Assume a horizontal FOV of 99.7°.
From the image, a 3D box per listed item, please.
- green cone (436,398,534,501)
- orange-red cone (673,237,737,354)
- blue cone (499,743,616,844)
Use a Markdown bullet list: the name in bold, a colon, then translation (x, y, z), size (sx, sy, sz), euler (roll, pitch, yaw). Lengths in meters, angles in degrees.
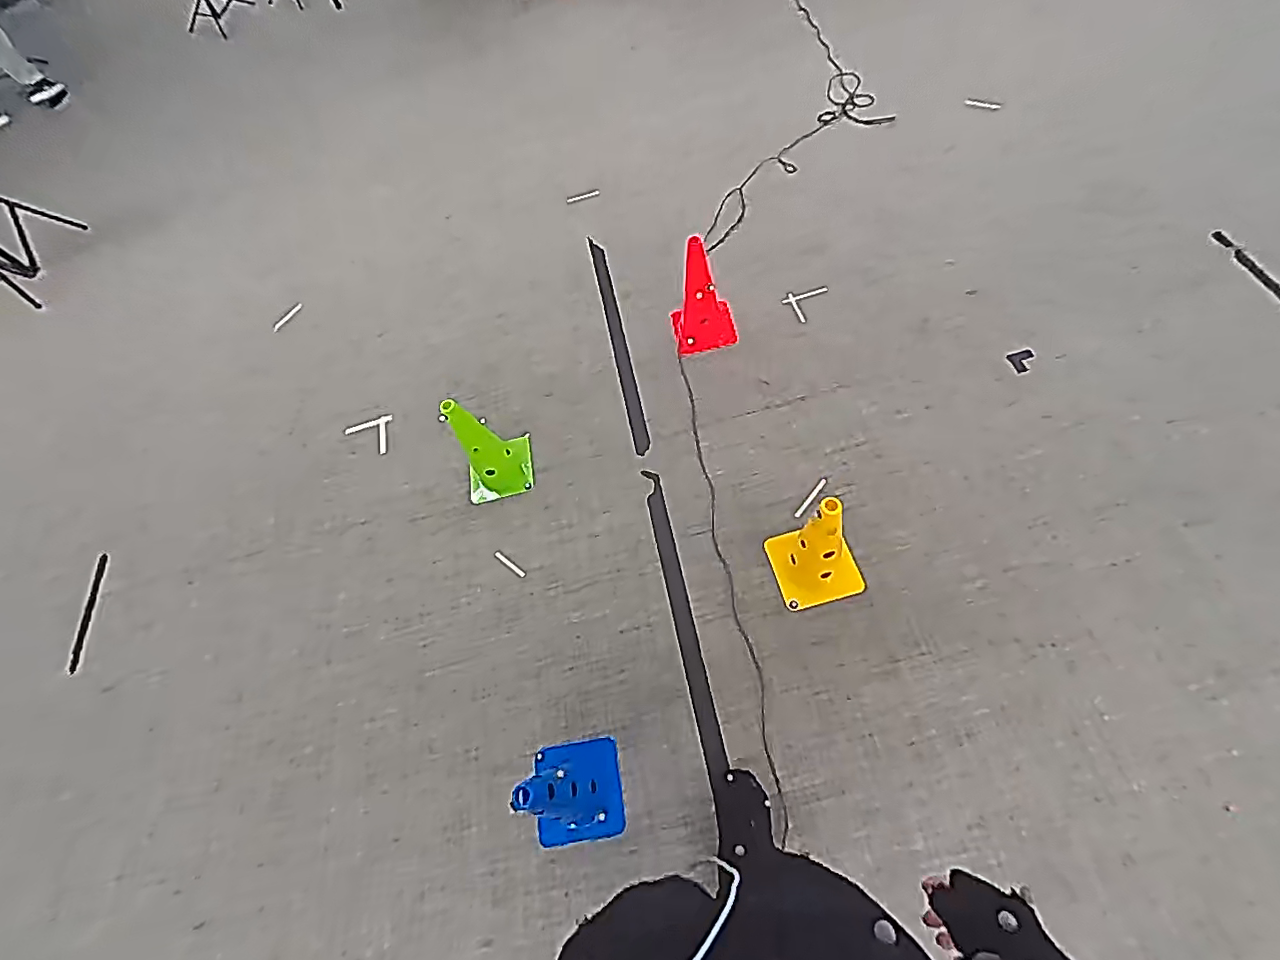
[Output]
- **green cone**: translation (-0.465, -0.119, 1.539), size (0.202, 0.368, 0.200), euler (-15, 60, 5)
- **orange-red cone**: translation (0.189, -0.589, 1.663), size (0.199, 0.360, 0.198), euler (-10, 62, 5)
- **blue cone**: translation (-0.183, 0.636, 1.096), size (0.192, 0.380, 0.193), euler (-12, 60, 6)
